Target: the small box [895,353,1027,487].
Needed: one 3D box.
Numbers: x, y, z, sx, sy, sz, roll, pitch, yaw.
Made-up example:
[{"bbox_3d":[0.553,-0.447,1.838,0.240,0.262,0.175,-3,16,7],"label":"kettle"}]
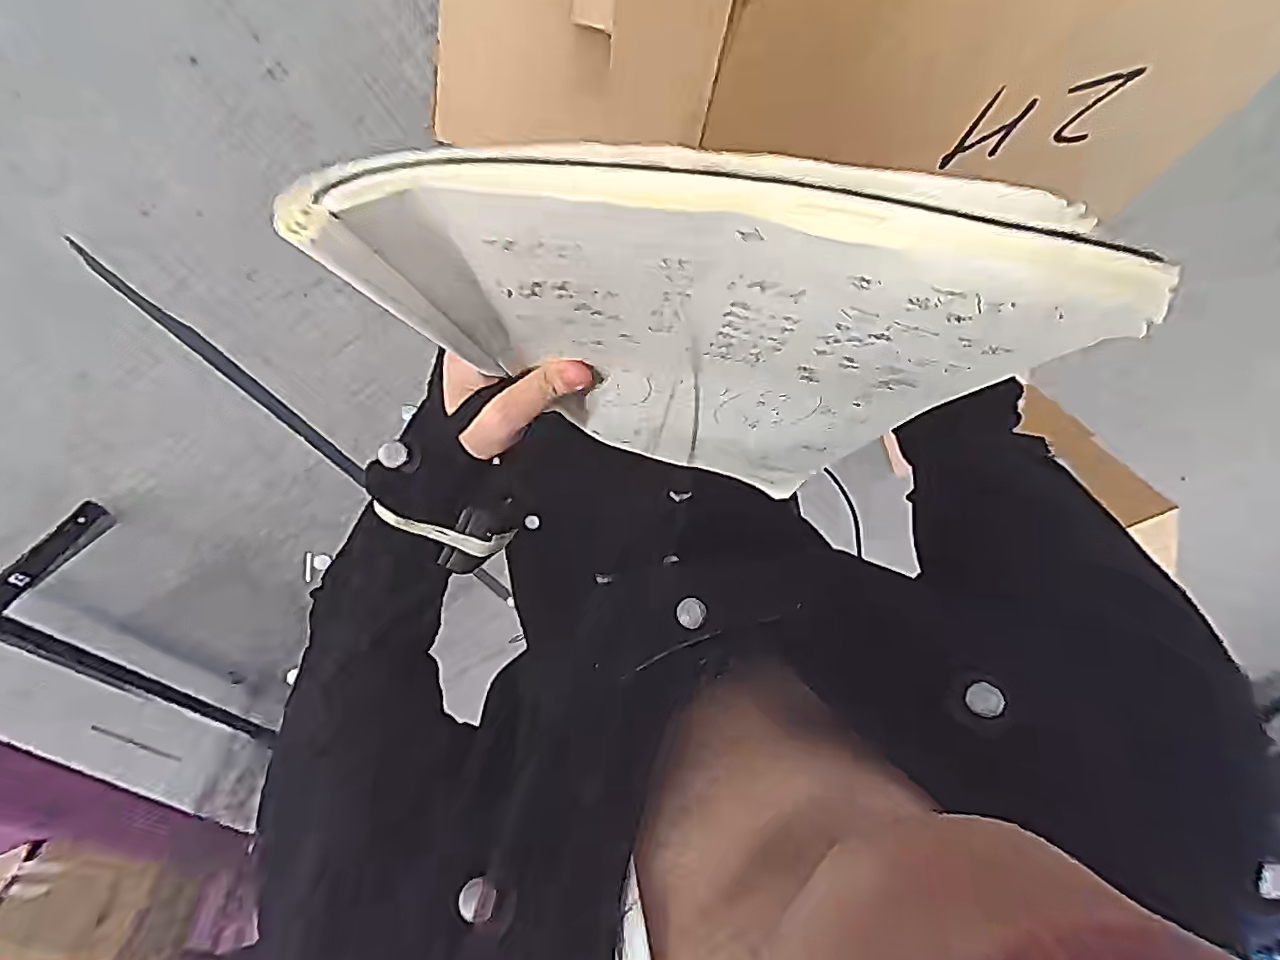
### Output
[{"bbox_3d":[0.629,-0.122,1.073,0.179,0.176,0.168,-23,126,13],"label":"small box"}]
